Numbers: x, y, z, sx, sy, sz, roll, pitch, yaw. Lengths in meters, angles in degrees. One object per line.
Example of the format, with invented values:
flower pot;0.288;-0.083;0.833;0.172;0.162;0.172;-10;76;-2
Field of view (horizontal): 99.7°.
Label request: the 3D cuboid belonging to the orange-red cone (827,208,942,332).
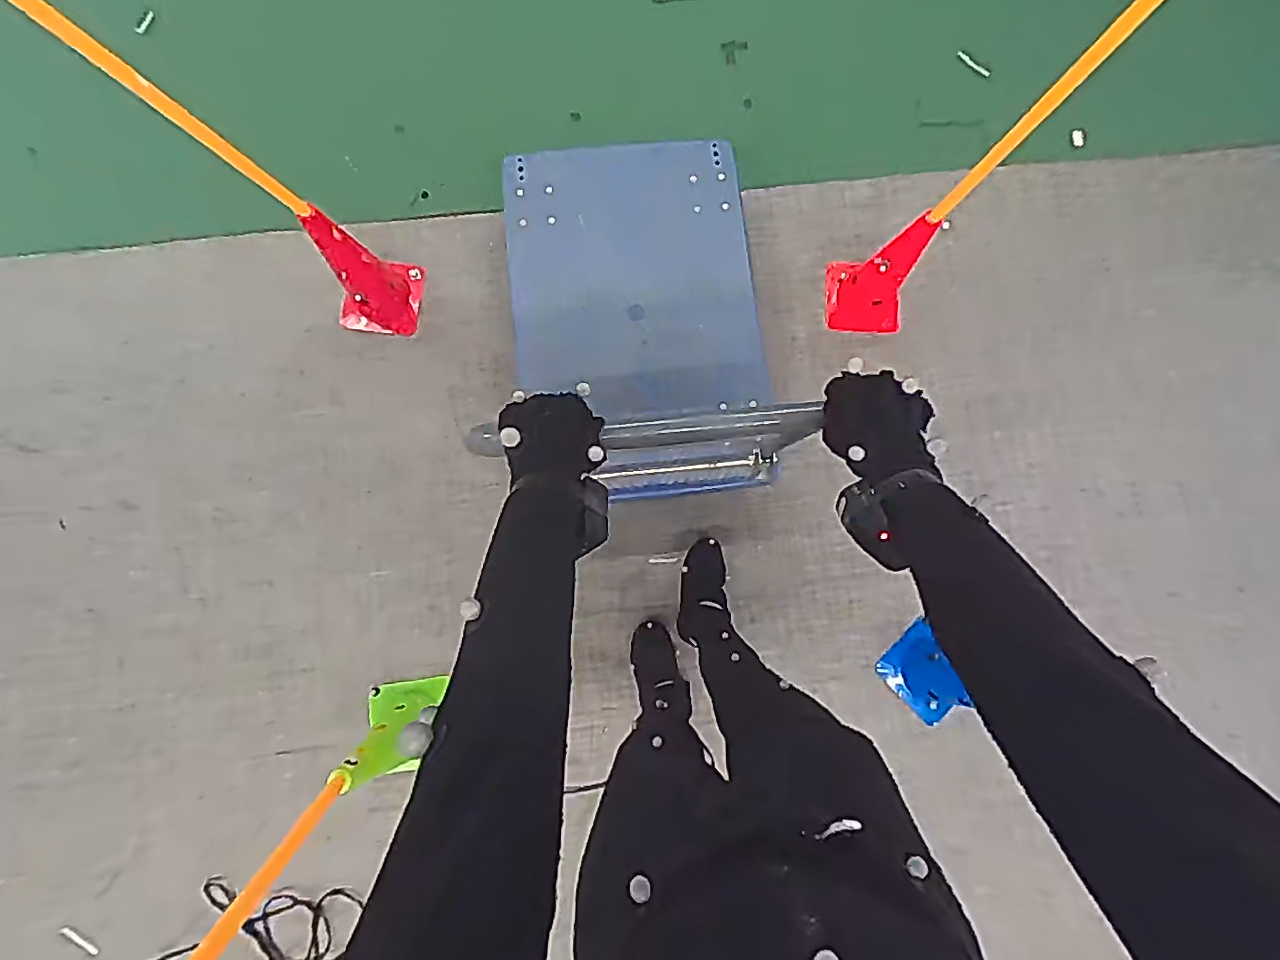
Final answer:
orange-red cone;0.615;-0.527;1.309;0.198;0.360;0.199;5;82;0
